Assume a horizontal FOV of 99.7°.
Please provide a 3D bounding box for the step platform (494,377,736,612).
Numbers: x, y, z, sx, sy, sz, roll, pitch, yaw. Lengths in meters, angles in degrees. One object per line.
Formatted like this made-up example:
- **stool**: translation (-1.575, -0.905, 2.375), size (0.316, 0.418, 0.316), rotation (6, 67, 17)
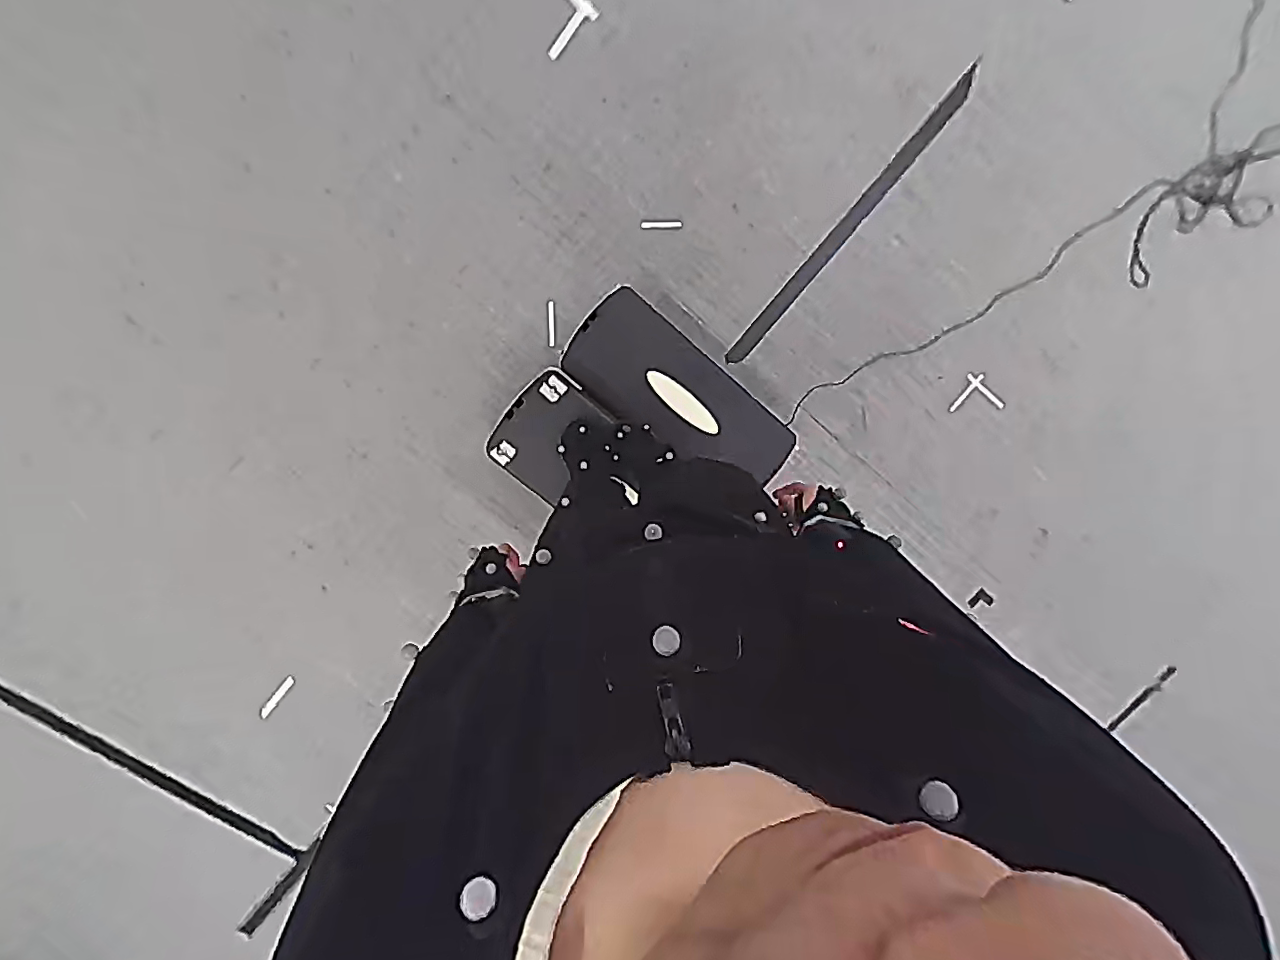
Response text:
- **step platform**: translation (-0.062, 0.041, 1.469), size (0.684, 0.204, 0.286), rotation (43, 93, -8)
